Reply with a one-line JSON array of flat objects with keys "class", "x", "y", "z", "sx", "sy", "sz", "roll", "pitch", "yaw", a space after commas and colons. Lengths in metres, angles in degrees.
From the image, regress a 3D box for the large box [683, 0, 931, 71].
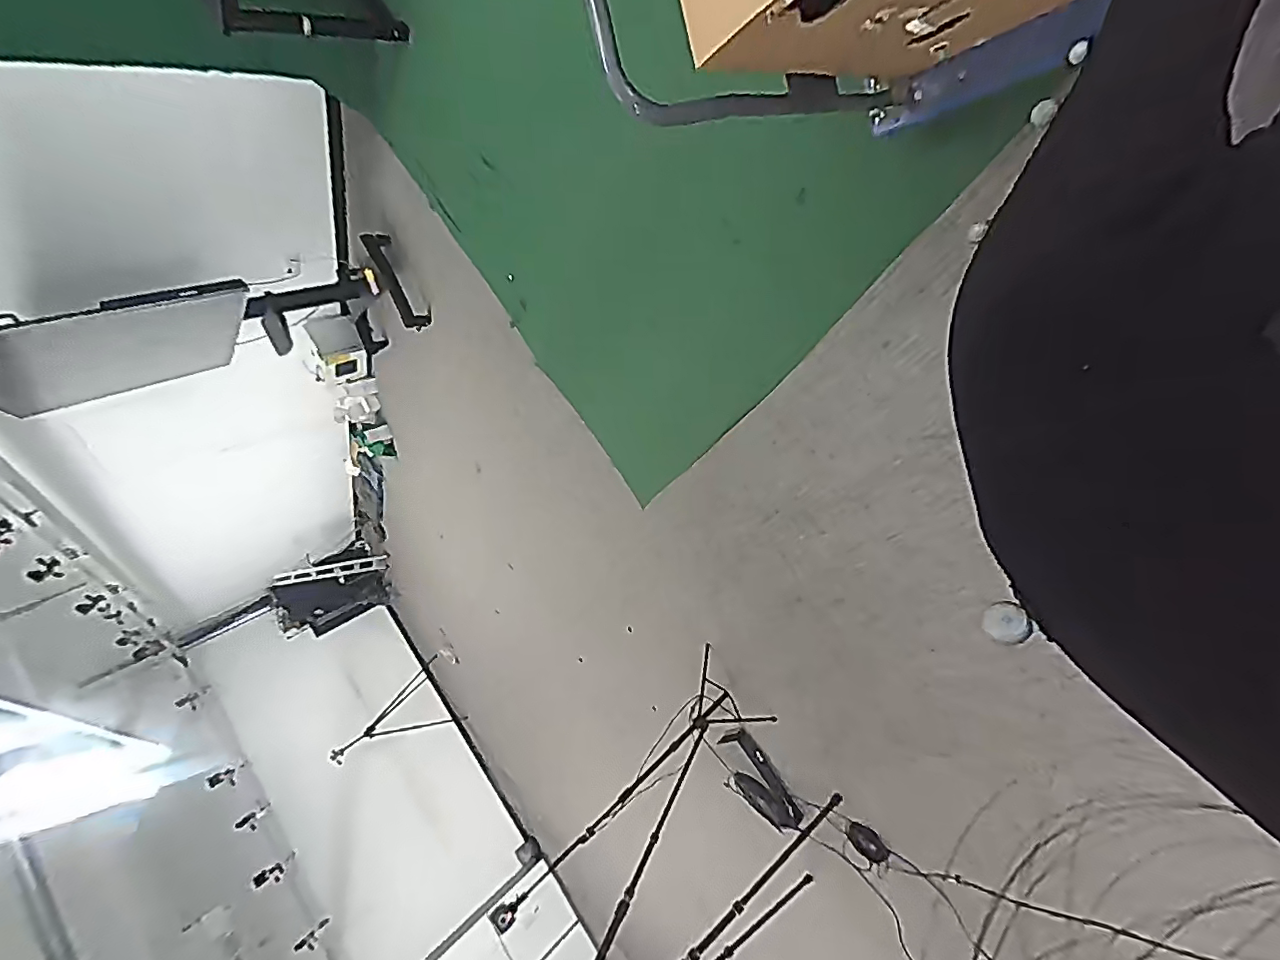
[{"class": "large box", "x": 0.224, "y": -0.780, "z": 0.625, "sx": 0.320, "sy": 0.320, "sz": 0.408, "roll": 4, "pitch": 115, "yaw": 55}]
